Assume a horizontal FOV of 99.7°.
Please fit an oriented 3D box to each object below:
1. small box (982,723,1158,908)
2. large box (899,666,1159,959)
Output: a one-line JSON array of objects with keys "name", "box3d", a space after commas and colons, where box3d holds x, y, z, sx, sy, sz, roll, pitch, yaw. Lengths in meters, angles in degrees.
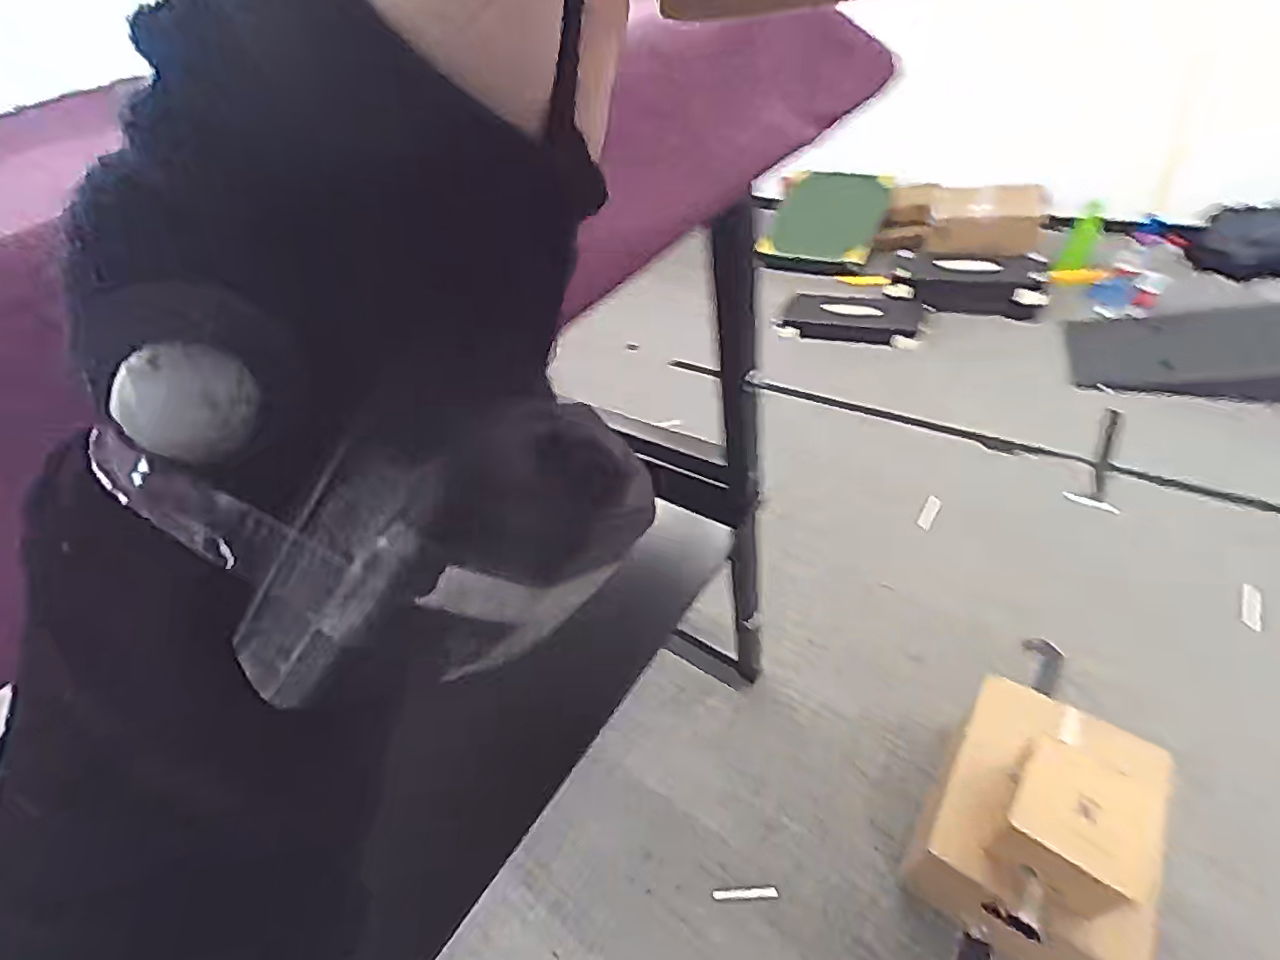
[{"name": "small box", "box3d": [0.691, 0.547, 0.885, 0.168, 0.176, 0.179, 25, 56, 34]}, {"name": "large box", "box3d": [0.762, 0.678, 1.089, 0.320, 0.320, 0.408, 23, 53, 30]}]
